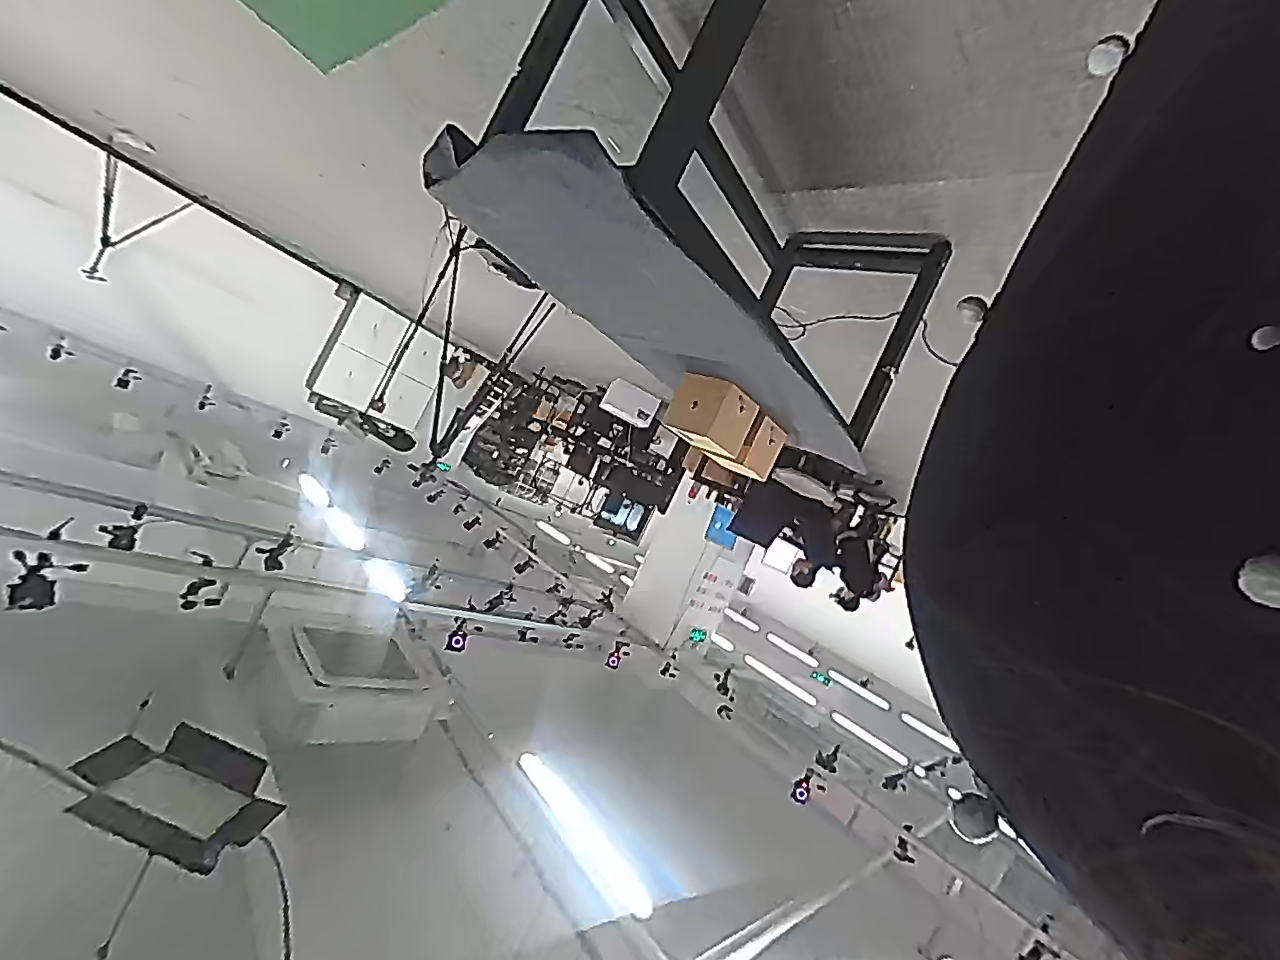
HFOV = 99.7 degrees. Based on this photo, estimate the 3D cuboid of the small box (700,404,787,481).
[{"bbox_3d":[0.327,-0.121,1.696,0.179,0.176,0.168,24,178,42],"label":"small box"}]
